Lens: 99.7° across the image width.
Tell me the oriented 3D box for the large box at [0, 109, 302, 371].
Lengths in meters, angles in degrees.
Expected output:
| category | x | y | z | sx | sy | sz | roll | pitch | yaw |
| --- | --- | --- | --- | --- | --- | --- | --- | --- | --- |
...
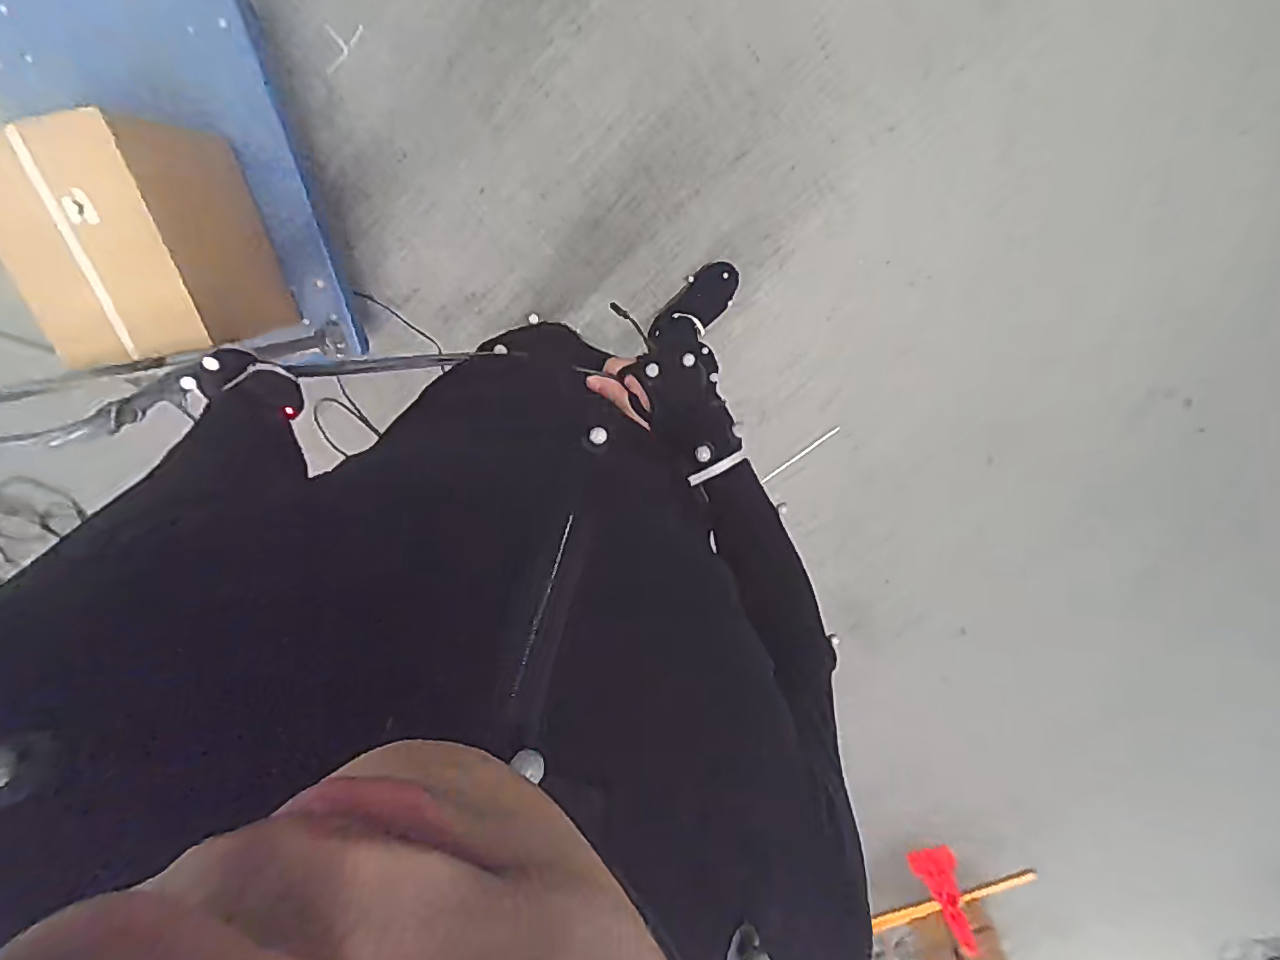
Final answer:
| category | x | y | z | sx | sy | sz | roll | pitch | yaw |
| --- | --- | --- | --- | --- | --- | --- | --- | --- | --- |
| large box | -1.000 | -0.473 | 1.117 | 0.320 | 0.320 | 0.408 | -8 | 113 | 4 |
